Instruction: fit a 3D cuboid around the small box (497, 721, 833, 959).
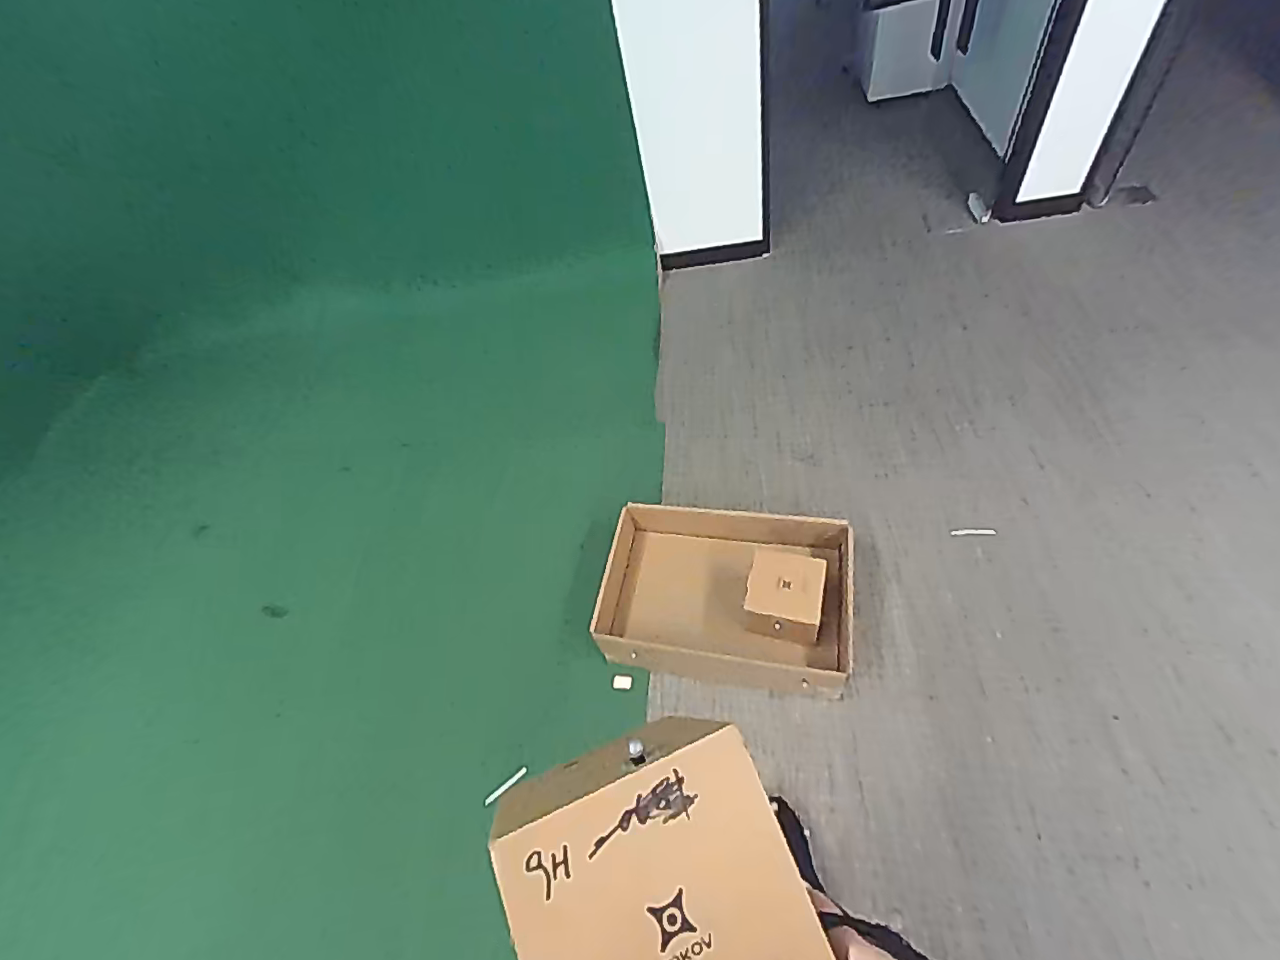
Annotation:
[{"bbox_3d":[0.007,0.290,0.382,0.168,0.176,0.179,-17,73,-18],"label":"small box"}]
